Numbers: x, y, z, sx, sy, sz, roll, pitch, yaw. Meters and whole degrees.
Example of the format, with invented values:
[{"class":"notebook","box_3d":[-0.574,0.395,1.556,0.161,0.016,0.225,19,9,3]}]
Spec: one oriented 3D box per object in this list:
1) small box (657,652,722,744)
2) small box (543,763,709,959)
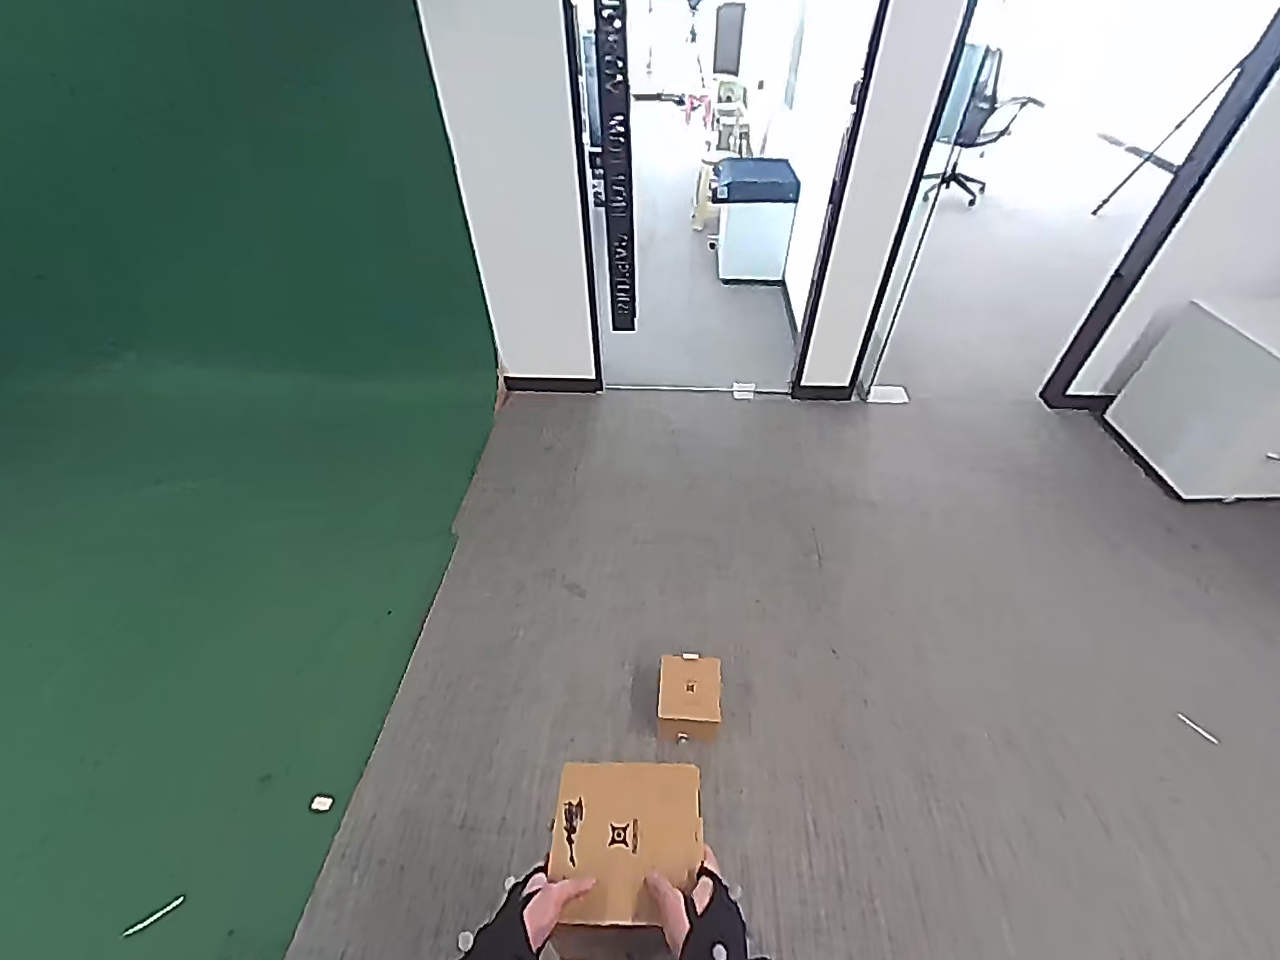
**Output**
[{"class":"small box","box_3d":[0.138,0.603,1.494,0.168,0.176,0.179,3,45,7]},{"class":"small box","box_3d":[-0.011,0.478,0.673,0.179,0.176,0.168,0,37,3]}]
